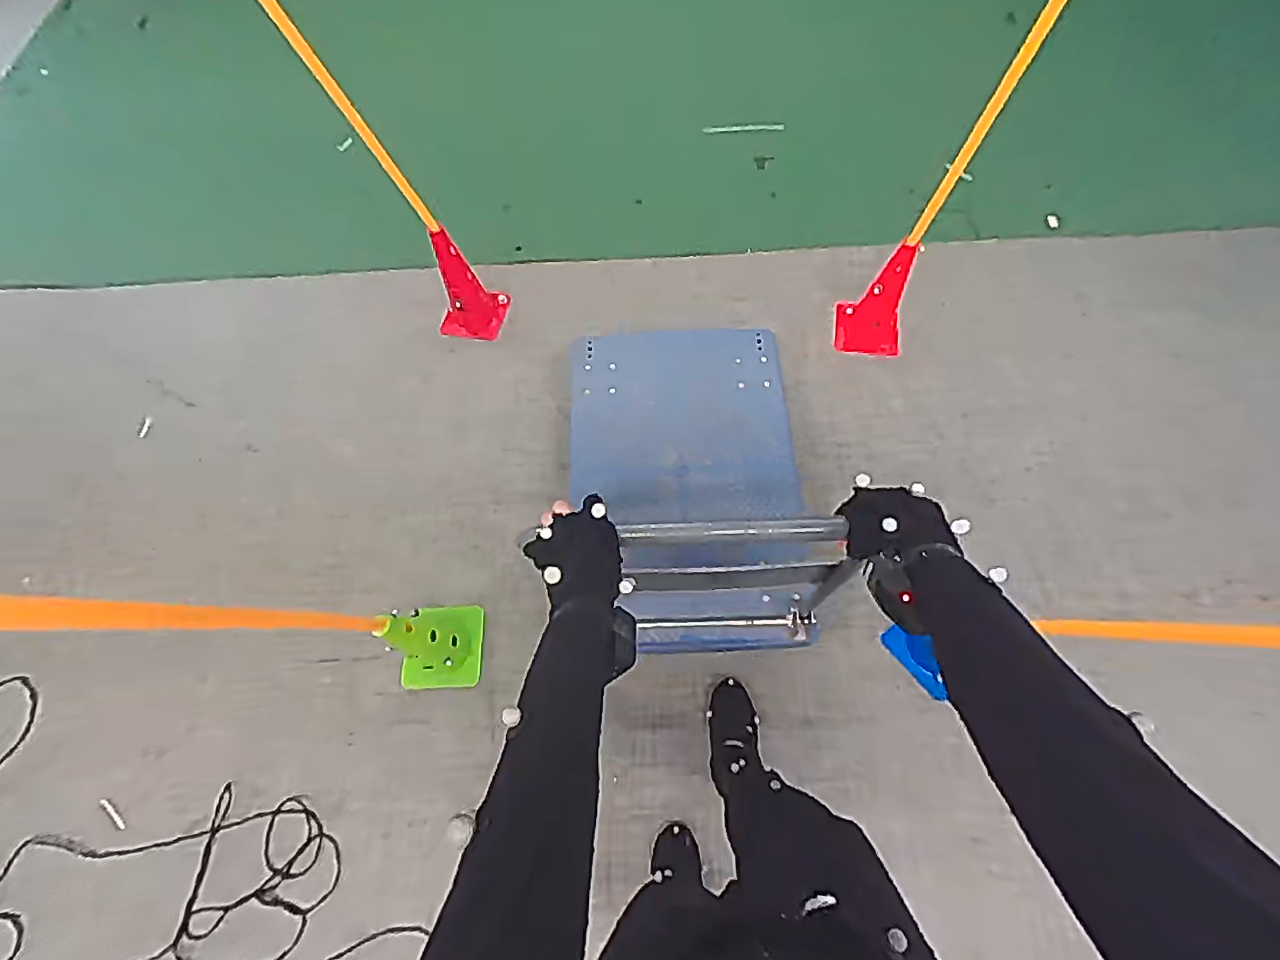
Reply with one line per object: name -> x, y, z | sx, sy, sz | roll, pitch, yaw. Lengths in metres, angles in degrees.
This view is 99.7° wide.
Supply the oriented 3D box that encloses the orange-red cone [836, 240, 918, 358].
orange-red cone -> 0.722, -0.545, 1.576 | 0.198, 0.360, 0.199 | 8, 68, 7
